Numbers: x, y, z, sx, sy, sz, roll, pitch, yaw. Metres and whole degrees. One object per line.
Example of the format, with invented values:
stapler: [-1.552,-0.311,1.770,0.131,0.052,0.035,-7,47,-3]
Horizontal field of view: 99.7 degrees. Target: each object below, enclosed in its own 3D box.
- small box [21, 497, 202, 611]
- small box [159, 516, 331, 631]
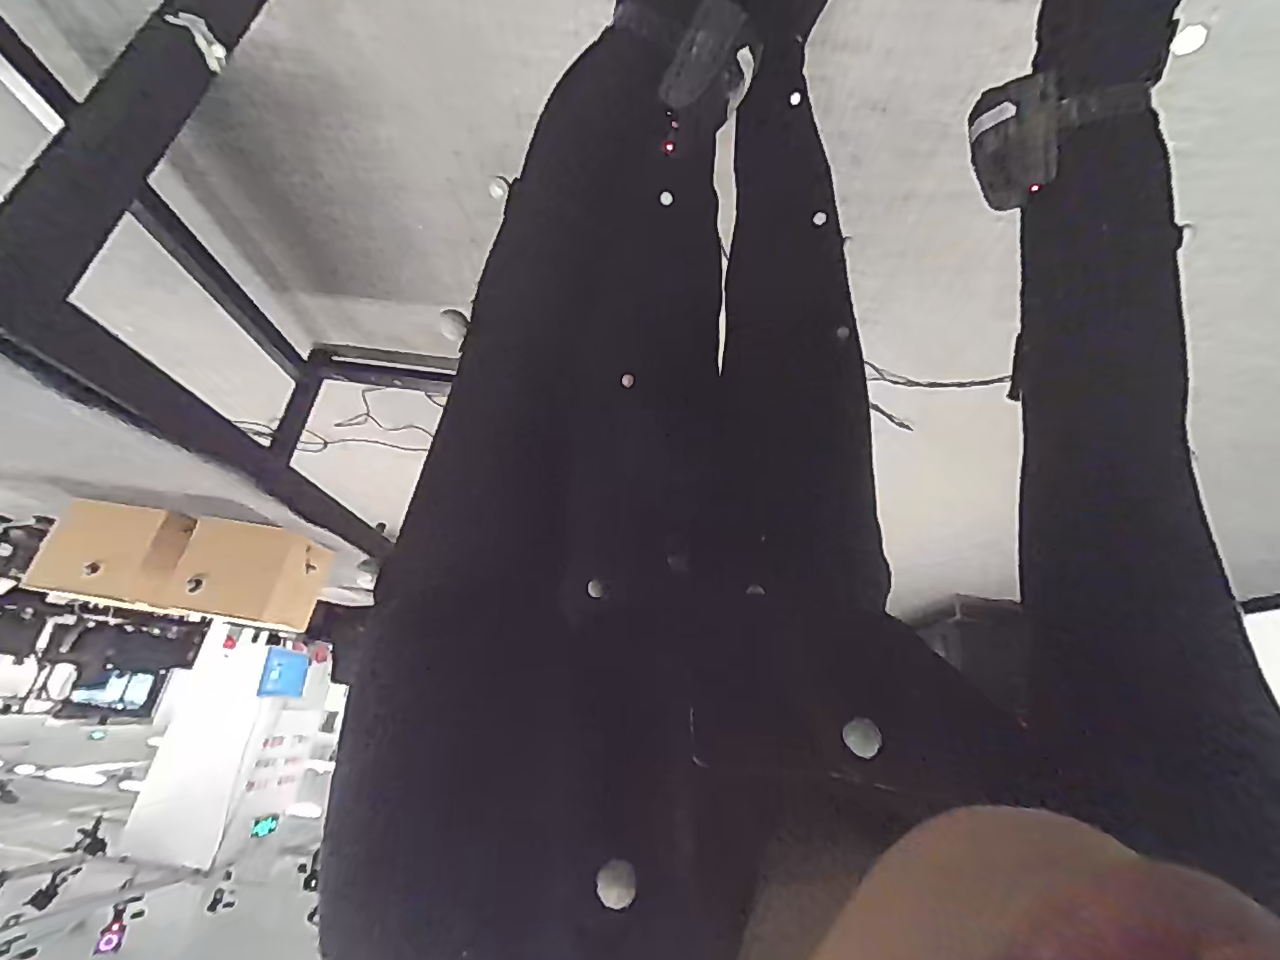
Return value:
small box: [-0.952,0.140,1.011,0.179,0.176,0.168,9,157,-2]
small box: [-0.727,0.176,1.019,0.179,0.176,0.168,9,157,-2]
